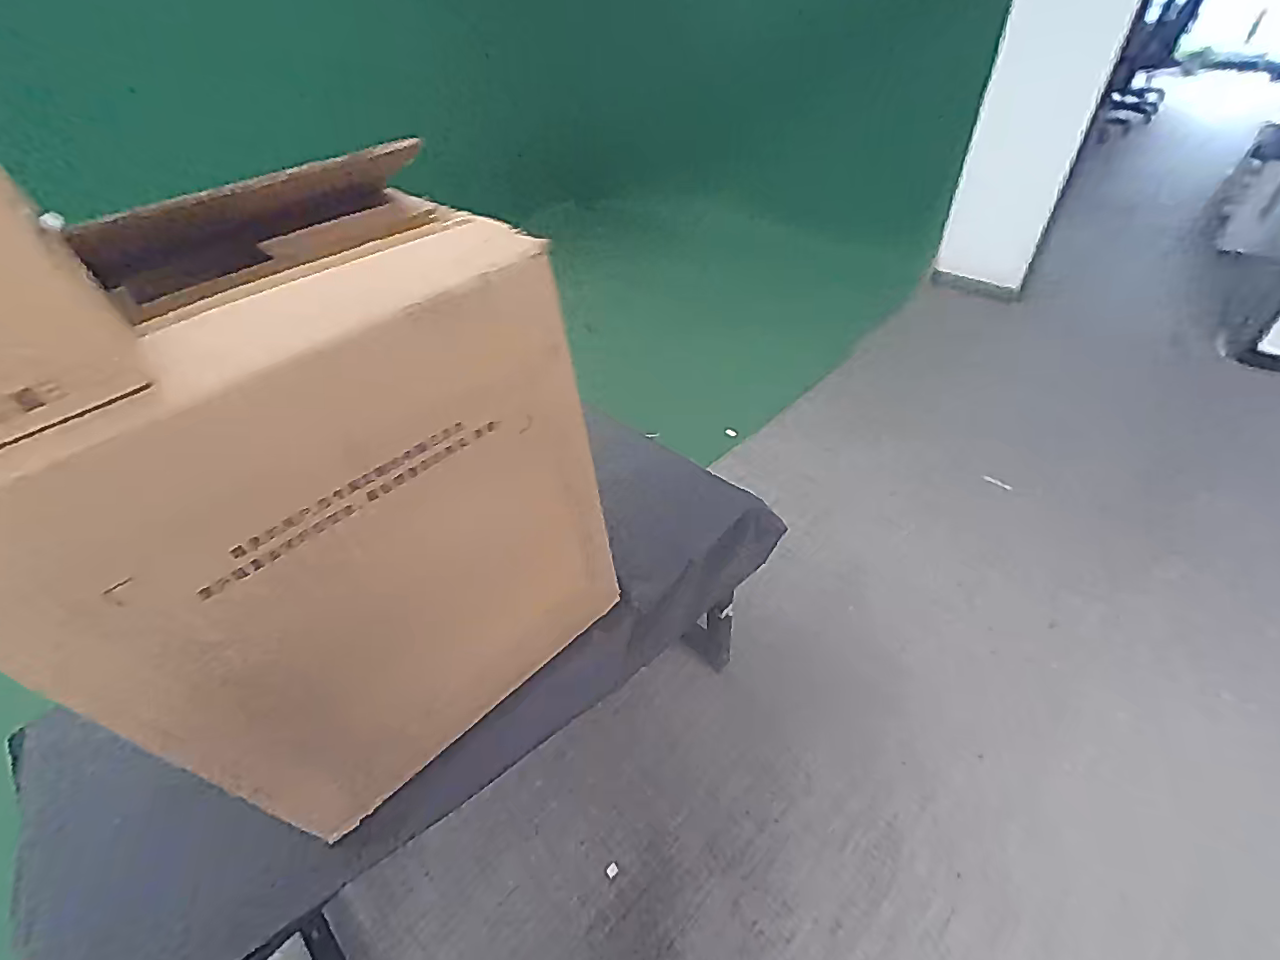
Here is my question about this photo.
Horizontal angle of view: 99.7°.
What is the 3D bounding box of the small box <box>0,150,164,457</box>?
[{"bbox_3d":[-0.473,-0.122,0.358,0.168,0.176,0.179,-37,51,-26],"label":"small box"}]
